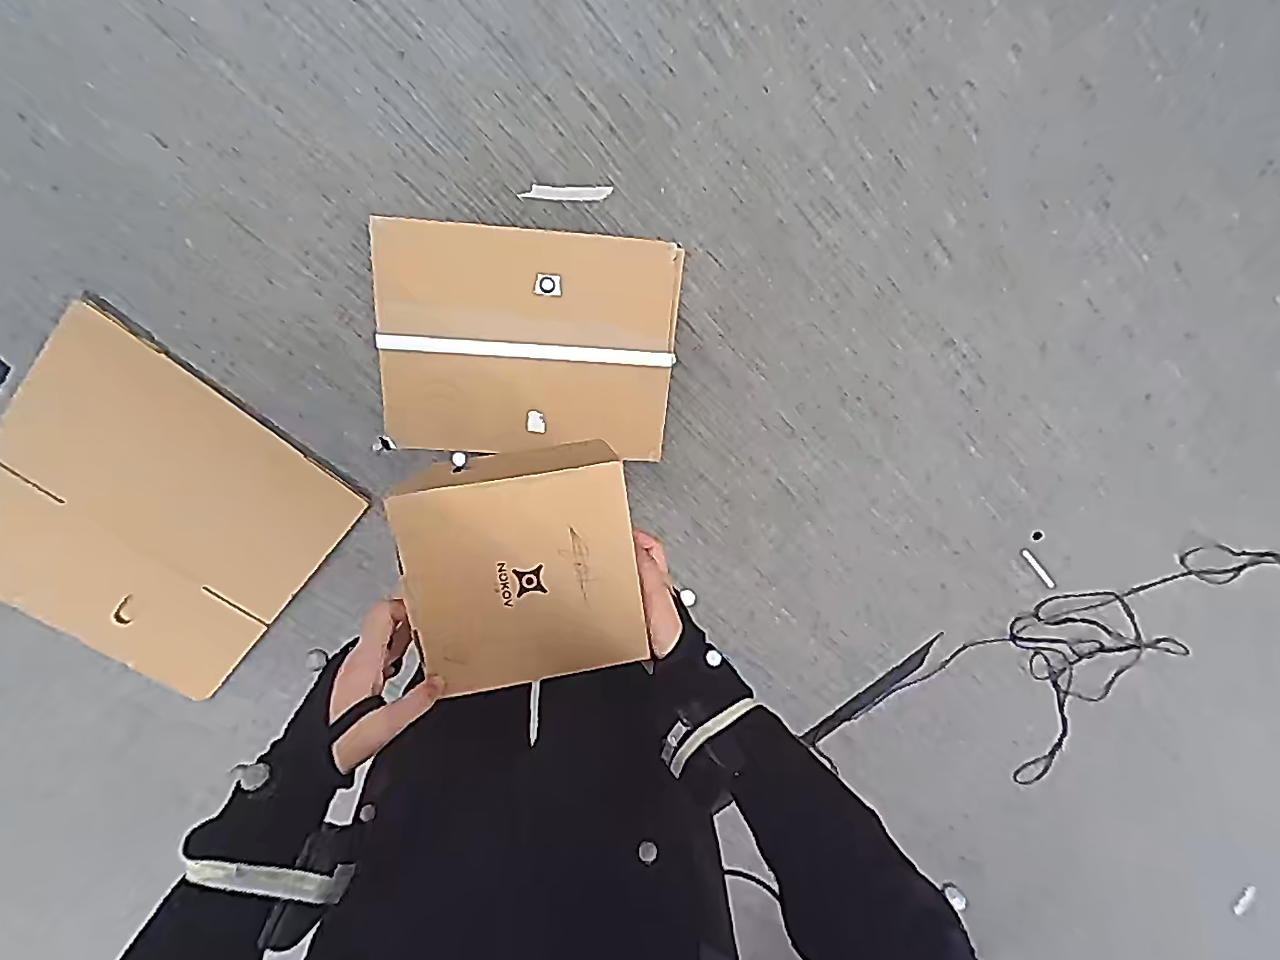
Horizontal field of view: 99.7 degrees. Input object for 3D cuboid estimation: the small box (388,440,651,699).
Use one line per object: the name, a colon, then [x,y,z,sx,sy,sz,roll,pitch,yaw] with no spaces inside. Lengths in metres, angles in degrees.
small box: [-0.098,0.063,0.489,0.179,0.176,0.168,-11,102,-7]
